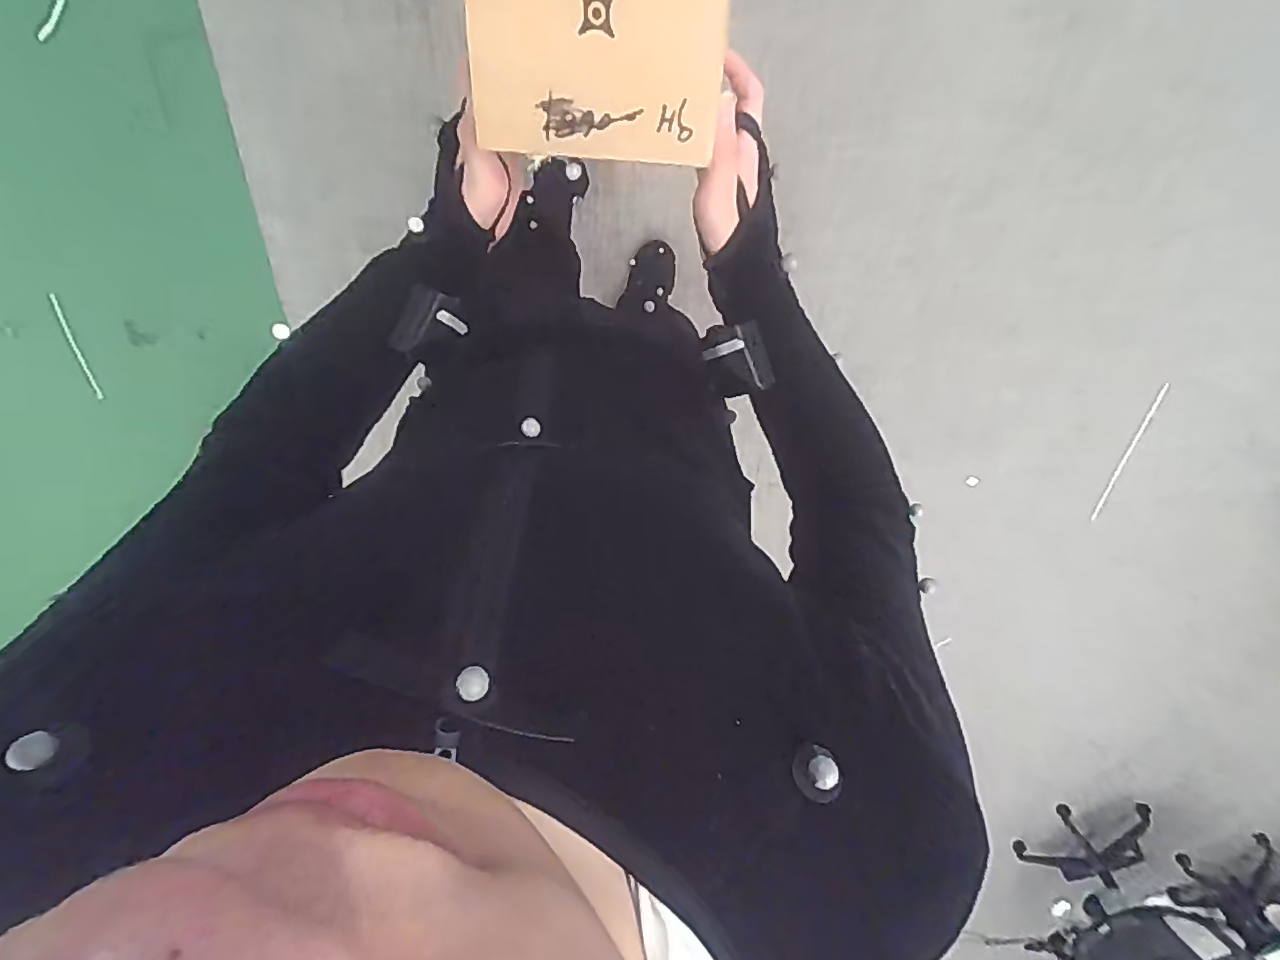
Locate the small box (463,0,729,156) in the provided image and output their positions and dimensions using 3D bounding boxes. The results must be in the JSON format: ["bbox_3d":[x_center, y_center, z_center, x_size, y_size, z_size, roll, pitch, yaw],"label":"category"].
[{"bbox_3d":[-0.027,-0.346,0.395,0.168,0.176,0.179,3,121,-2],"label":"small box"}]
